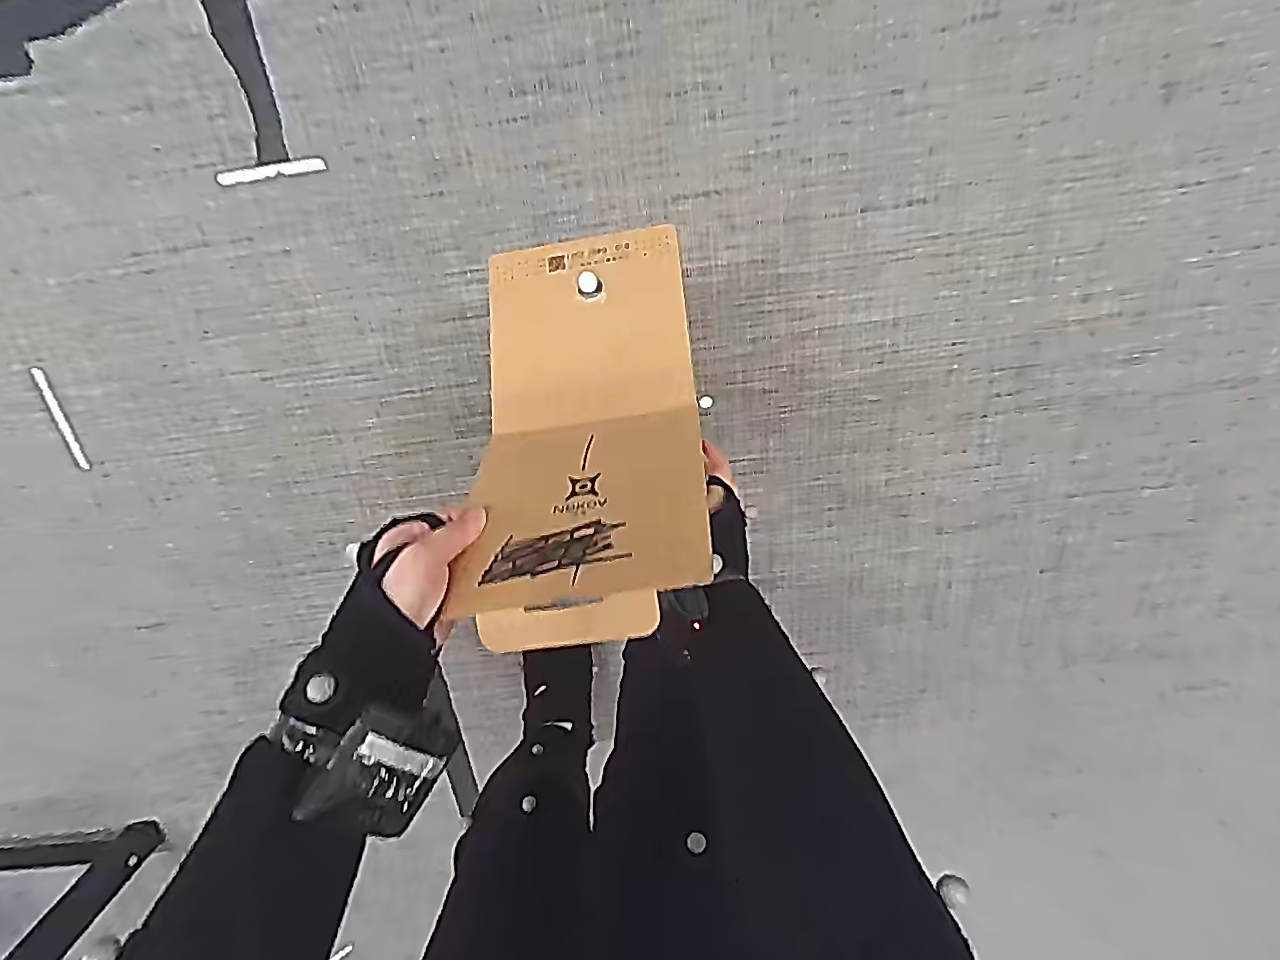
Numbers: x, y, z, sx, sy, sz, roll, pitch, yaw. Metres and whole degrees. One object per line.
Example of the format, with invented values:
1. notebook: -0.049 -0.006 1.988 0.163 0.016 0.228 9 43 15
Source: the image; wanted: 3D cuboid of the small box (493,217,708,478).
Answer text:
1. small box: -0.027 -0.109 0.507 0.168 0.179 0.176 -7 76 7
